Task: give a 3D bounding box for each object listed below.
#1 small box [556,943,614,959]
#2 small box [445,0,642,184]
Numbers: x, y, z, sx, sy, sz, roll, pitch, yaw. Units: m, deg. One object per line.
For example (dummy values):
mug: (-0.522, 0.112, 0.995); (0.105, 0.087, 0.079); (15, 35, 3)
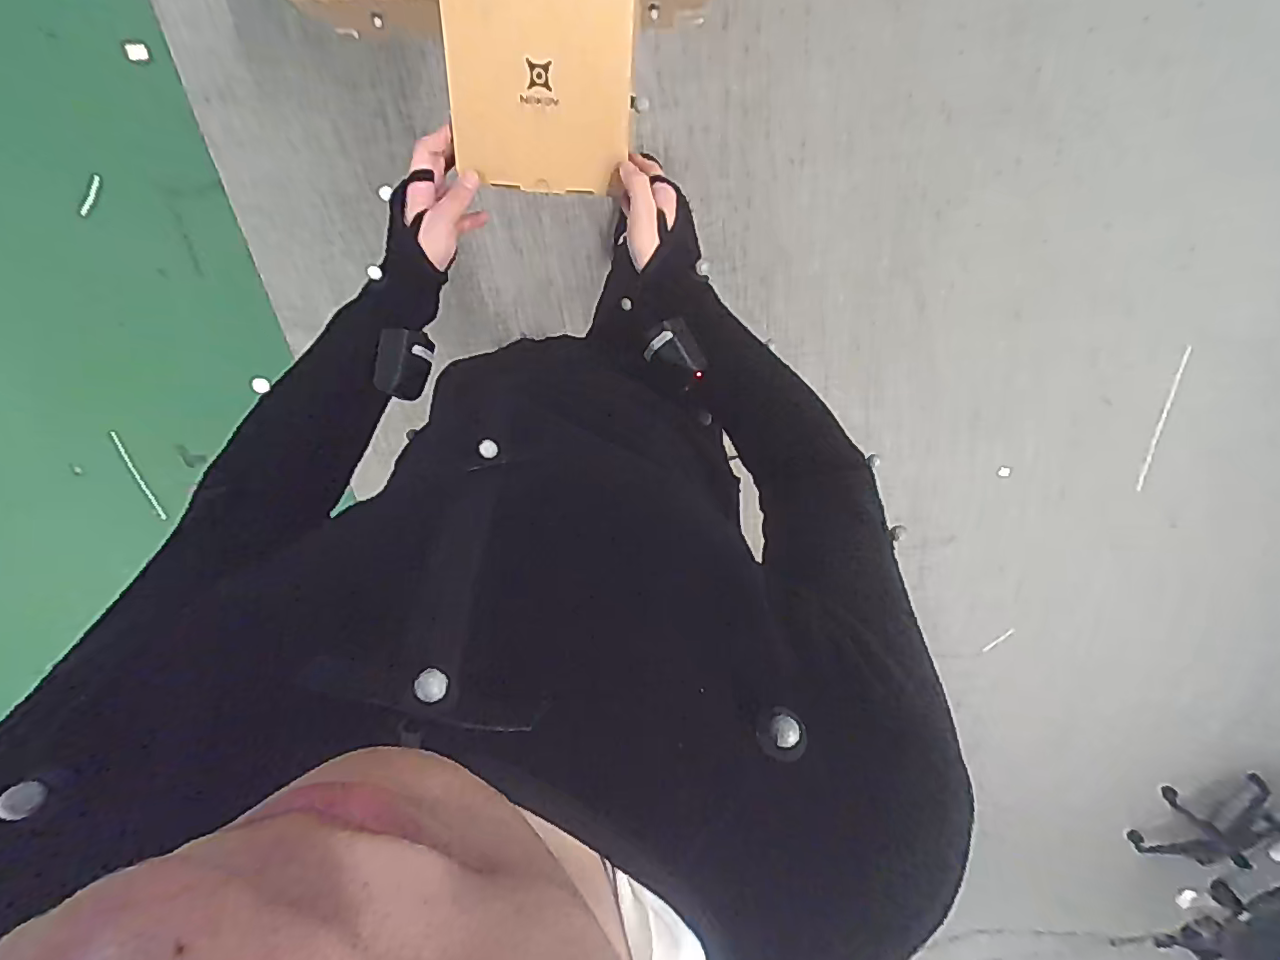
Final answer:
small box: (-0.161, 1.539, 1.629); (0.168, 0.176, 0.179); (-10, 117, 4)
small box: (-0.085, -0.408, 0.541); (0.168, 0.176, 0.179); (3, 124, -2)
